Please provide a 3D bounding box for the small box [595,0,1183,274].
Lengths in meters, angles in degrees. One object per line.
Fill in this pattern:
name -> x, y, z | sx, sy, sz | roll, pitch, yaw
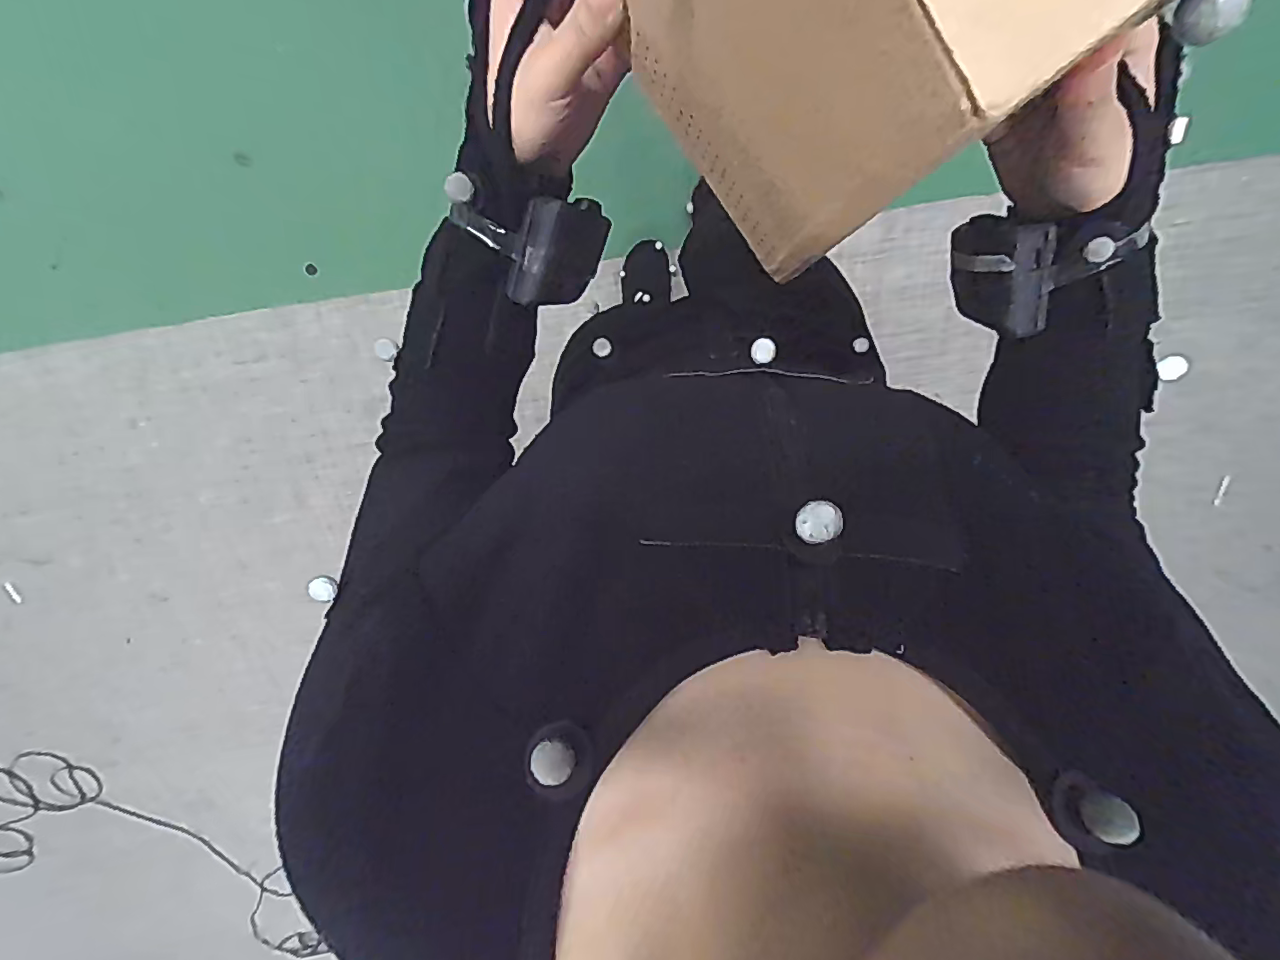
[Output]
small box -> 0.085, -0.196, 0.171 | 0.168, 0.176, 0.179 | -37, 97, 7
